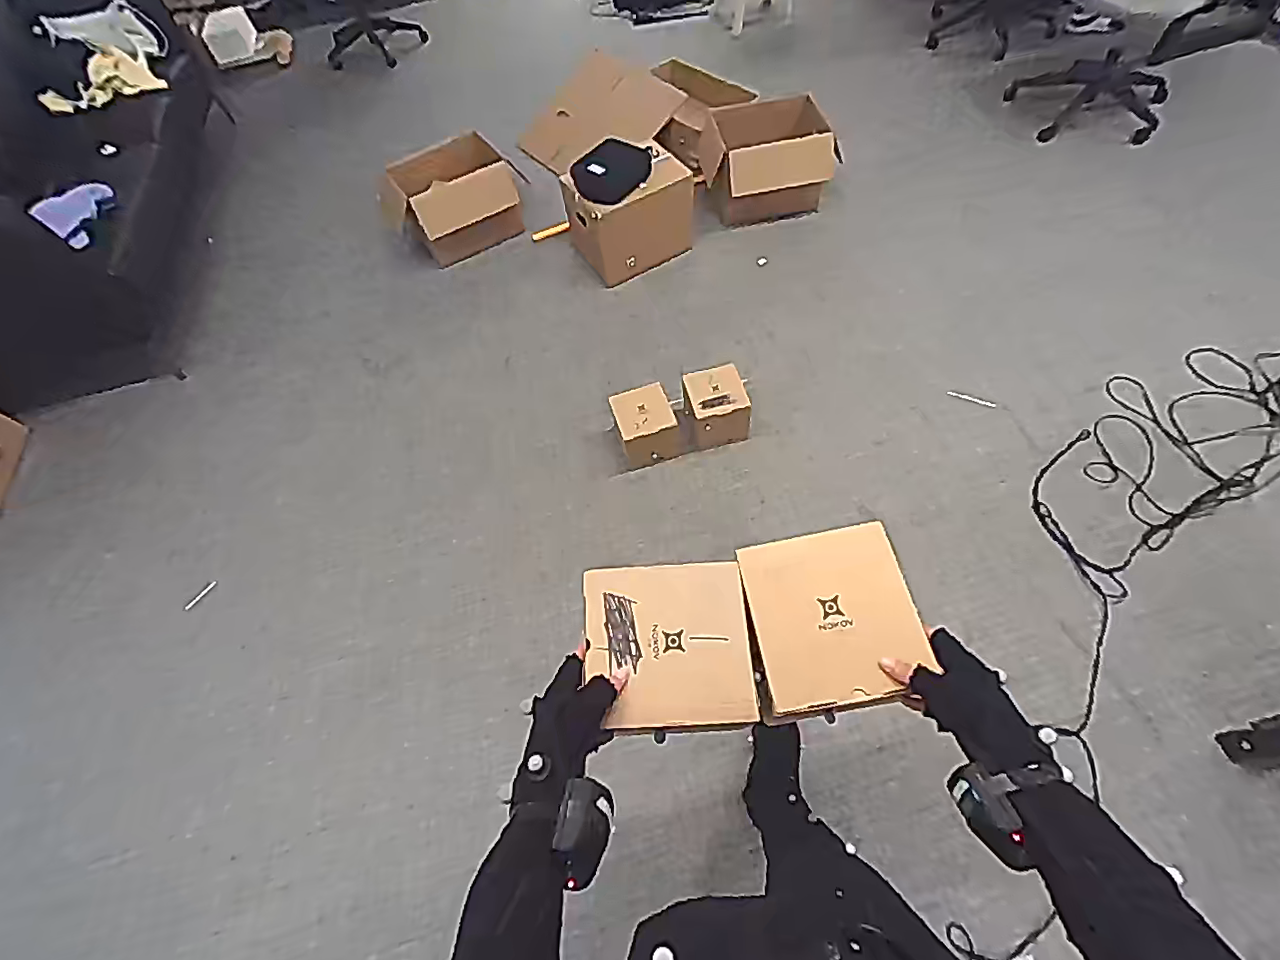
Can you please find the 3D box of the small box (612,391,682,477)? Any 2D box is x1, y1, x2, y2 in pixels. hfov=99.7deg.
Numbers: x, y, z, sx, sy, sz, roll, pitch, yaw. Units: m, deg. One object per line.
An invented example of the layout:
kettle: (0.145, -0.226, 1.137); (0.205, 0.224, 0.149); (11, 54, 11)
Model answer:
small box: (0.024, -0.139, 1.661); (0.168, 0.176, 0.179); (-18, 58, -3)
